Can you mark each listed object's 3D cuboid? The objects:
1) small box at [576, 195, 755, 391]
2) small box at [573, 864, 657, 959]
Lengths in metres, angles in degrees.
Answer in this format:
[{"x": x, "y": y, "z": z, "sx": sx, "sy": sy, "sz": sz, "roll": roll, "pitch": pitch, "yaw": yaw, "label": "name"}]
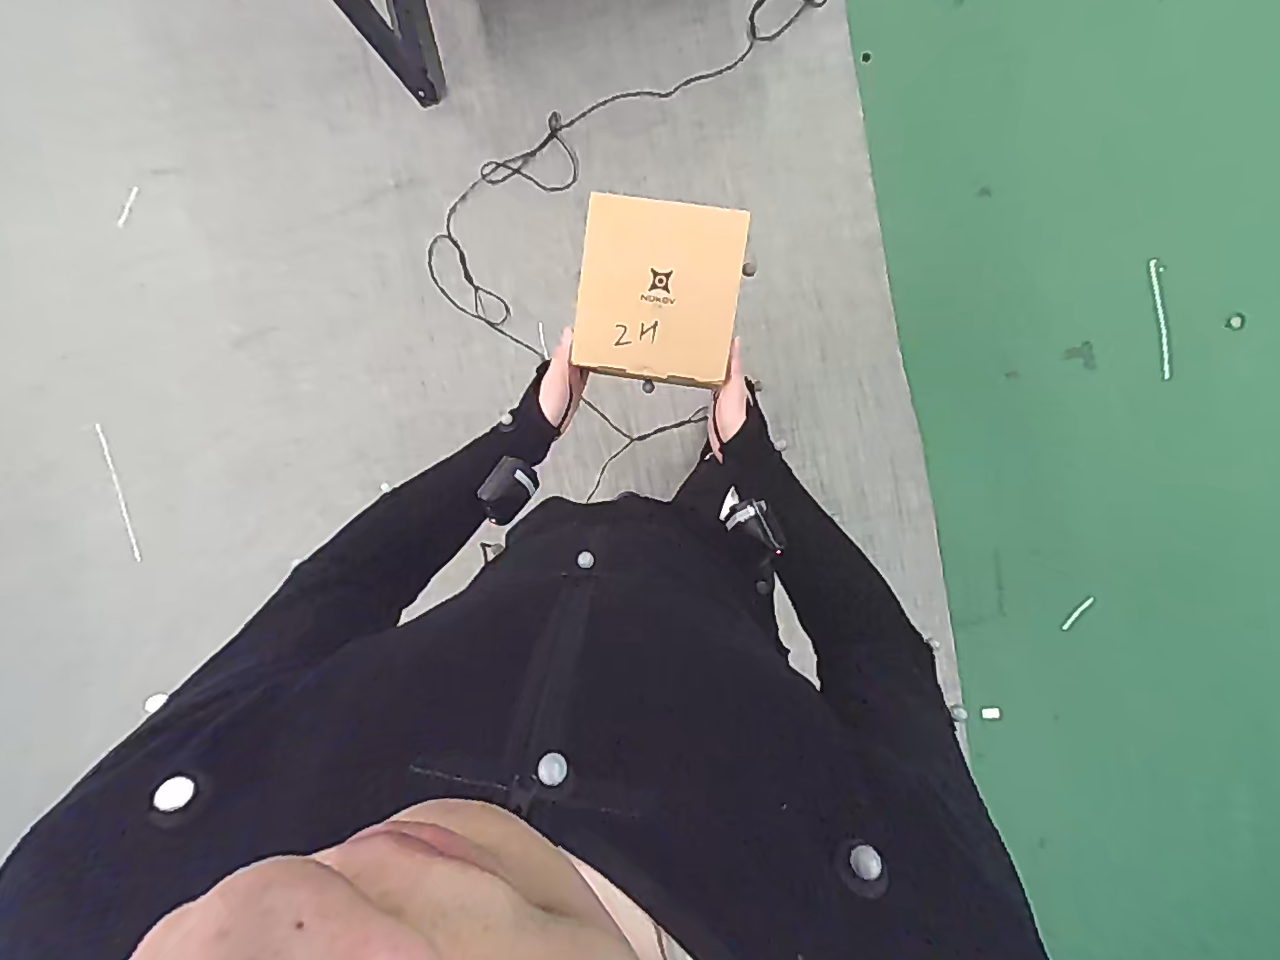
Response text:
[{"x": 0.027, "y": -0.205, "z": 0.639, "sx": 0.168, "sy": 0.176, "sz": 0.179, "roll": 9, "pitch": 99, "yaw": 1, "label": "small box"}, {"x": -0.052, "y": 1.035, "z": 1.249, "sx": 0.168, "sy": 0.176, "sz": 0.179, "roll": -5, "pitch": 95, "yaw": 5, "label": "small box"}]
